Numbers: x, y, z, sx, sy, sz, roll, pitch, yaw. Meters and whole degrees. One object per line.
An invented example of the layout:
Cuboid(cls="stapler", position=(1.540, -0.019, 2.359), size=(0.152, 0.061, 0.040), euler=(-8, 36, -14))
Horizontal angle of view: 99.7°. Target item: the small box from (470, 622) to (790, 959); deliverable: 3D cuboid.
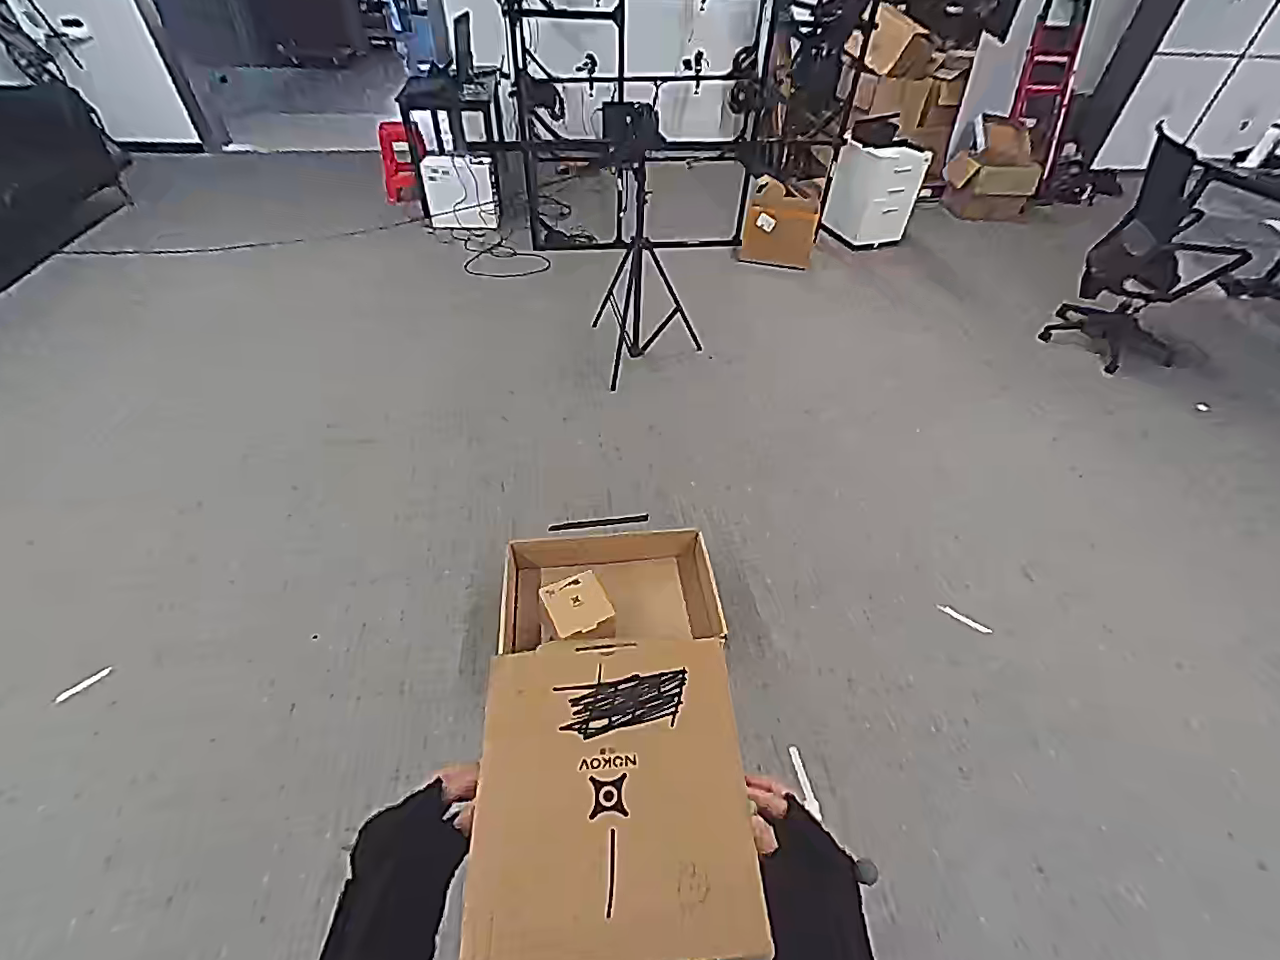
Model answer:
Cuboid(cls="small box", position=(-0.008, 0.221, 0.385), size=(0.168, 0.176, 0.179), euler=(-4, 52, -1))
